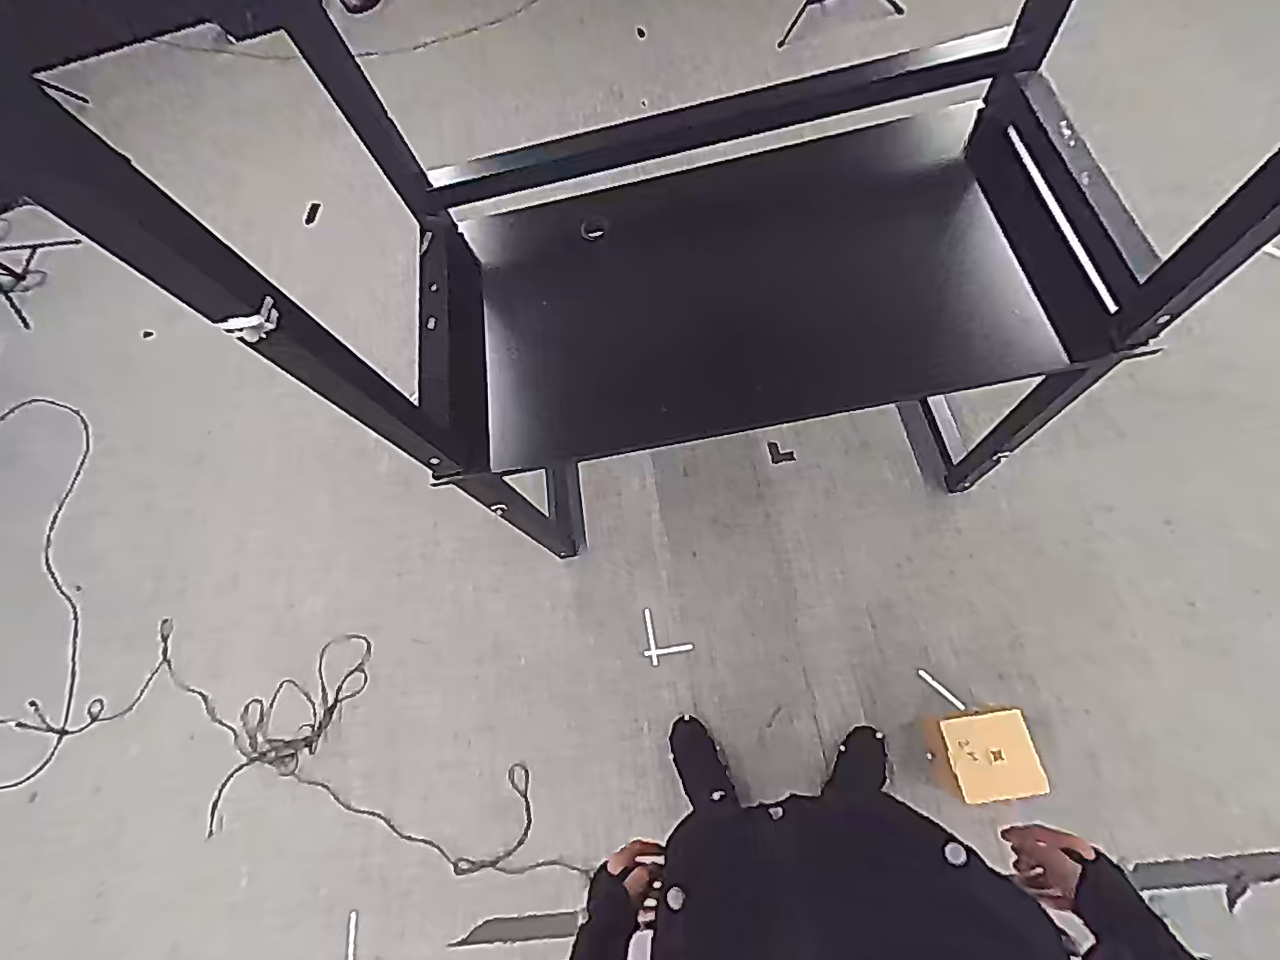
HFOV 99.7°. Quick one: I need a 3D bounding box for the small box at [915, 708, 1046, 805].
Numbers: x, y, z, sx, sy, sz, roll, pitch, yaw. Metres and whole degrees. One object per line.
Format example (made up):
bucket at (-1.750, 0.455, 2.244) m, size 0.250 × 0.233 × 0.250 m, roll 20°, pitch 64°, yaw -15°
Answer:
small box at (0.763, 0.622, 1.233) m, size 0.179 × 0.176 × 0.168 m, roll -11°, pitch 69°, yaw 6°
